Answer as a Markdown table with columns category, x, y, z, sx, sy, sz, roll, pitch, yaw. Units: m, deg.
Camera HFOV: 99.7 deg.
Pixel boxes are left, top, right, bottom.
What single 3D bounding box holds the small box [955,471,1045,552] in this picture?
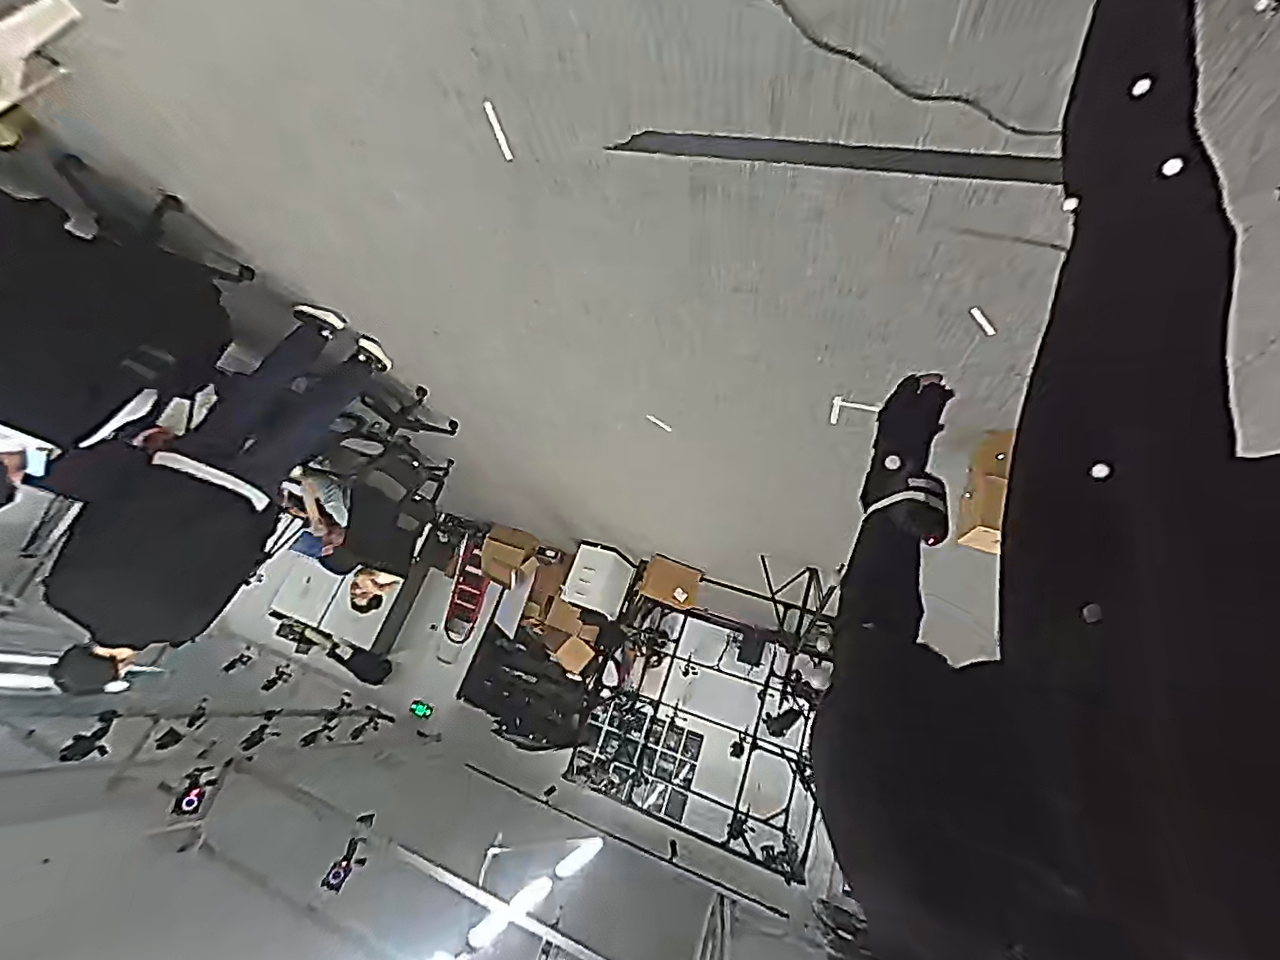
| category | x | y | z | sx | sy | sz | roll | pitch | yaw |
| --- | --- | --- | --- | --- | --- | --- | --- | --- | --- |
| small box | 1.066 | 0.094 | 1.600 | 0.168 | 0.176 | 0.179 | 15 | 162 | 14 |

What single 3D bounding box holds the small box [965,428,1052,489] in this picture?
| category | x | y | z | sx | sy | sz | roll | pitch | yaw |
| --- | --- | --- | --- | --- | --- | --- | --- | --- | --- |
| small box | 1.128 | -0.045 | 1.662 | 0.179 | 0.176 | 0.168 | 12 | 161 | 19 |
